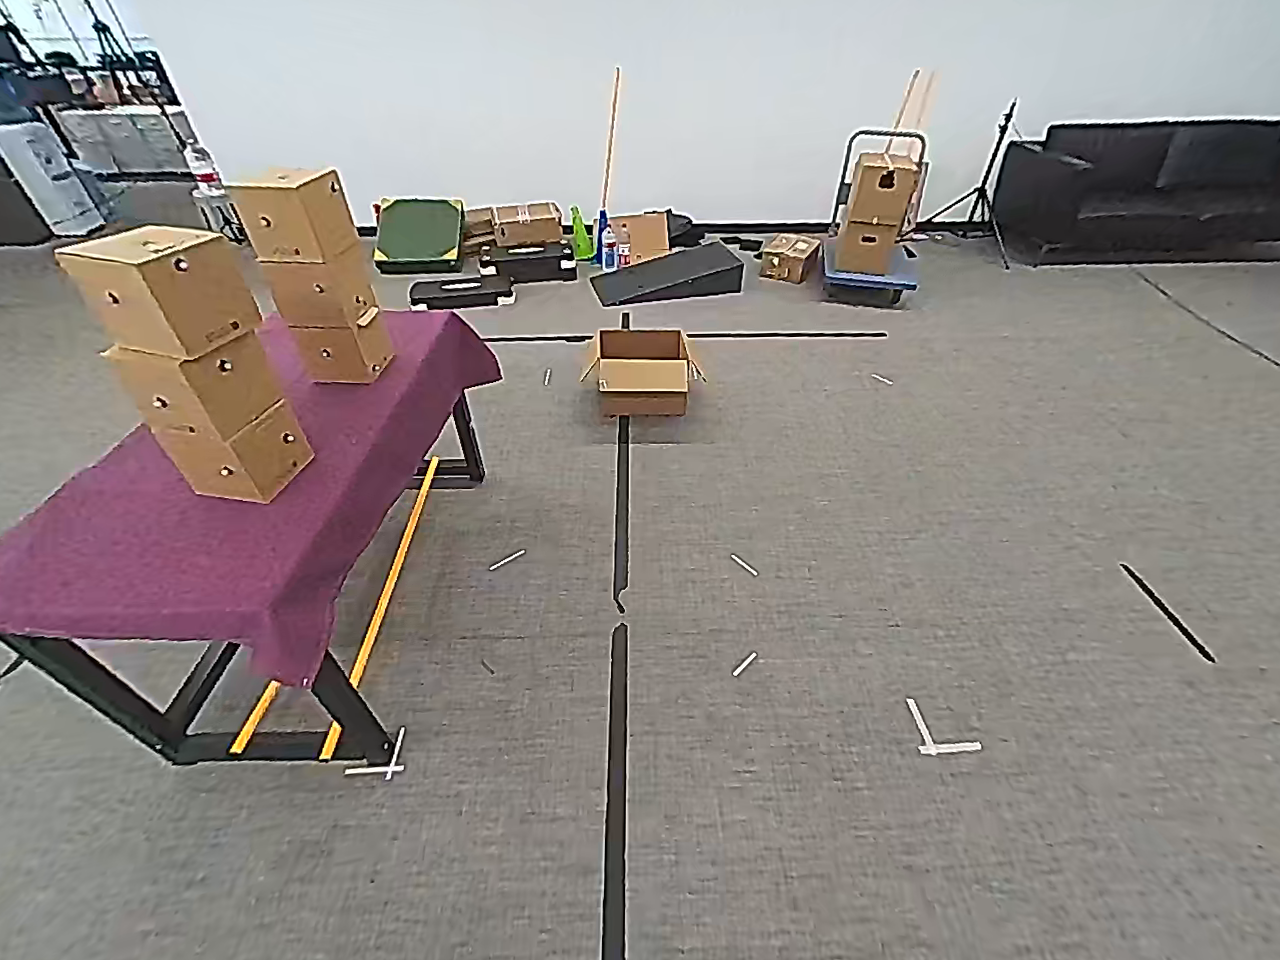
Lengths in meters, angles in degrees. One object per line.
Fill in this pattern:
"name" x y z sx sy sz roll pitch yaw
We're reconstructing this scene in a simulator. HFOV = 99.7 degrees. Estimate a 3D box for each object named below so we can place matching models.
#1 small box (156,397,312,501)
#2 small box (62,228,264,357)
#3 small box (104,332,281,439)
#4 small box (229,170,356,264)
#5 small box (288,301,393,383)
"small box" -0.852 -0.073 1.160 0.179 0.176 0.168 7 41 8
"small box" -0.830 -0.333 0.961 0.179 0.176 0.168 11 42 13
"small box" -0.853 -0.200 1.057 0.168 0.176 0.179 9 41 8
"small box" -0.815 -0.629 1.293 0.168 0.176 0.179 4 41 4
"small box" -0.820 -0.382 1.506 0.179 0.176 0.168 1 42 3
